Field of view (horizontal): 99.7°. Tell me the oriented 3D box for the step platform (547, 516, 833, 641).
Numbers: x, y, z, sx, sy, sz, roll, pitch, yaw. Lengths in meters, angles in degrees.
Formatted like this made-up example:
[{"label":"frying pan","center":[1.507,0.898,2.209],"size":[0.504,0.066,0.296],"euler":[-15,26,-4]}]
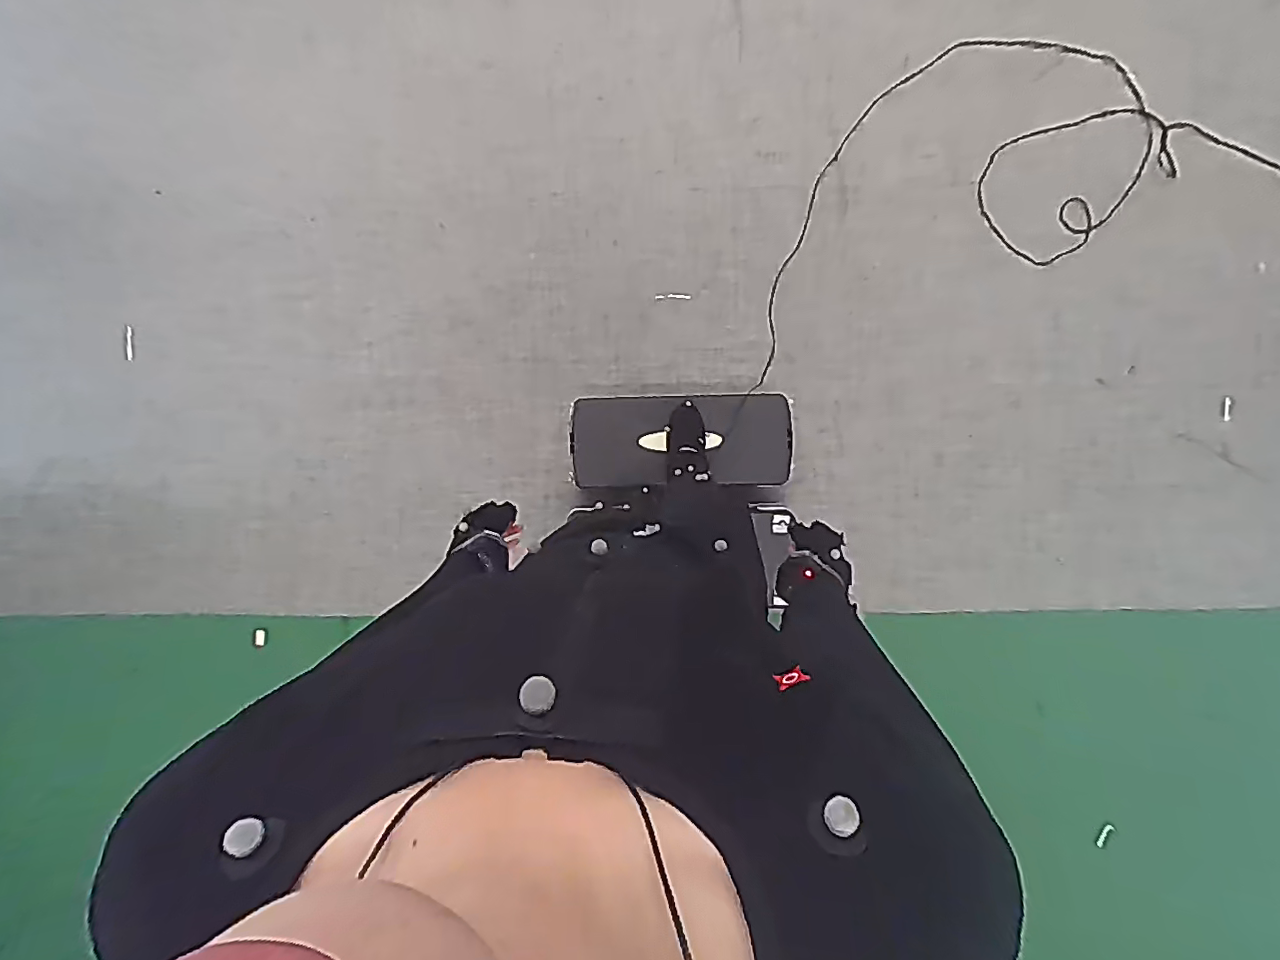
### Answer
[{"label":"step platform","center":[0.118,0.241,1.382],"size":[0.684,0.204,0.286],"euler":[-1,89,0]}]
